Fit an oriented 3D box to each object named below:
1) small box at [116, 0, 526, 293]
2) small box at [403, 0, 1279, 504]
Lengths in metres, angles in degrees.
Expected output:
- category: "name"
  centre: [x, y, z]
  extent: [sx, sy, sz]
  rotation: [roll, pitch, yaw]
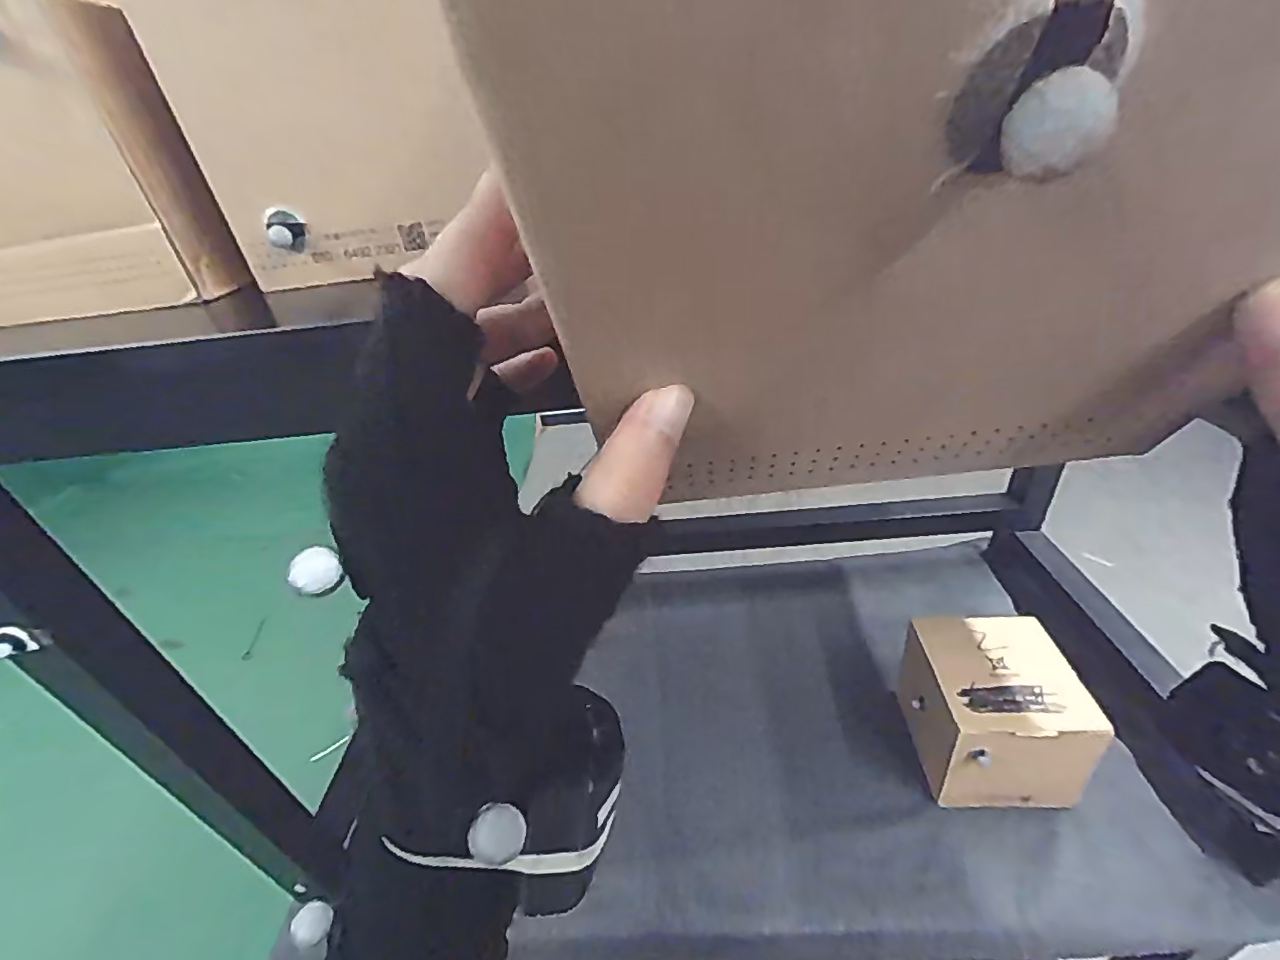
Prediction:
- category: "small box"
  centre: [-0.162, -0.230, 0.359]
  extent: [0.168, 0.176, 0.179]
  rotation: [-6, 32, 3]
- category: "small box"
  centre: [0.058, -0.103, 0.154]
  extent: [0.179, 0.176, 0.168]
  rotation: [-6, 62, 5]
